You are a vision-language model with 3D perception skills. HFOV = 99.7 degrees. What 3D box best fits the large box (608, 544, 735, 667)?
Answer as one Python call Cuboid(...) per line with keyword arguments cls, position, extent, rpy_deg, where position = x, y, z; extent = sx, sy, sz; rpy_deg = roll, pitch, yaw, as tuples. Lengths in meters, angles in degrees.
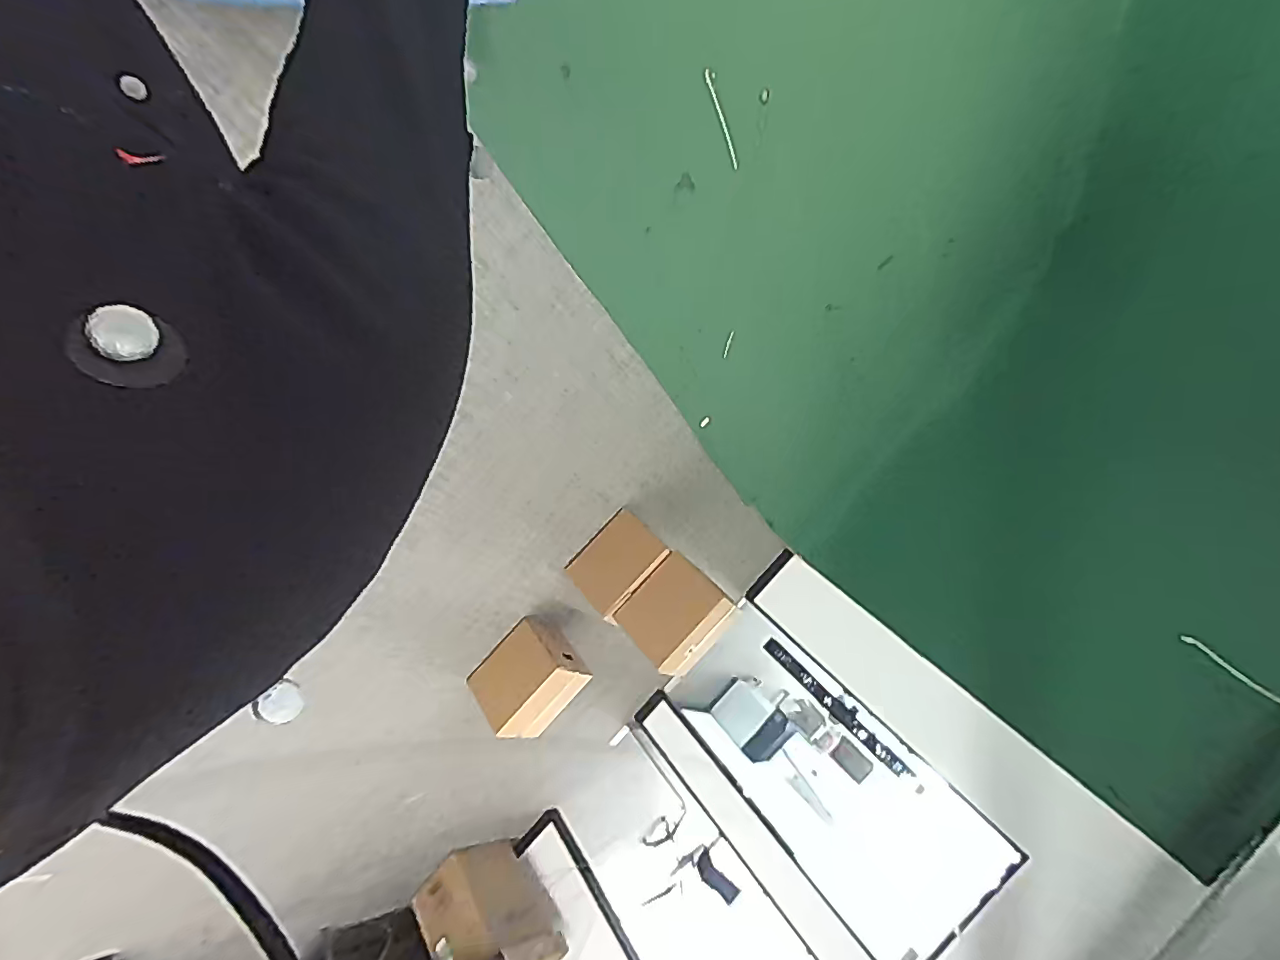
Cuboid(cls="large box", position=(0.142, 0.548, 2.358), extent=(0.408, 0.320, 0.320), rpy_deg=(-46, 148, -1))
